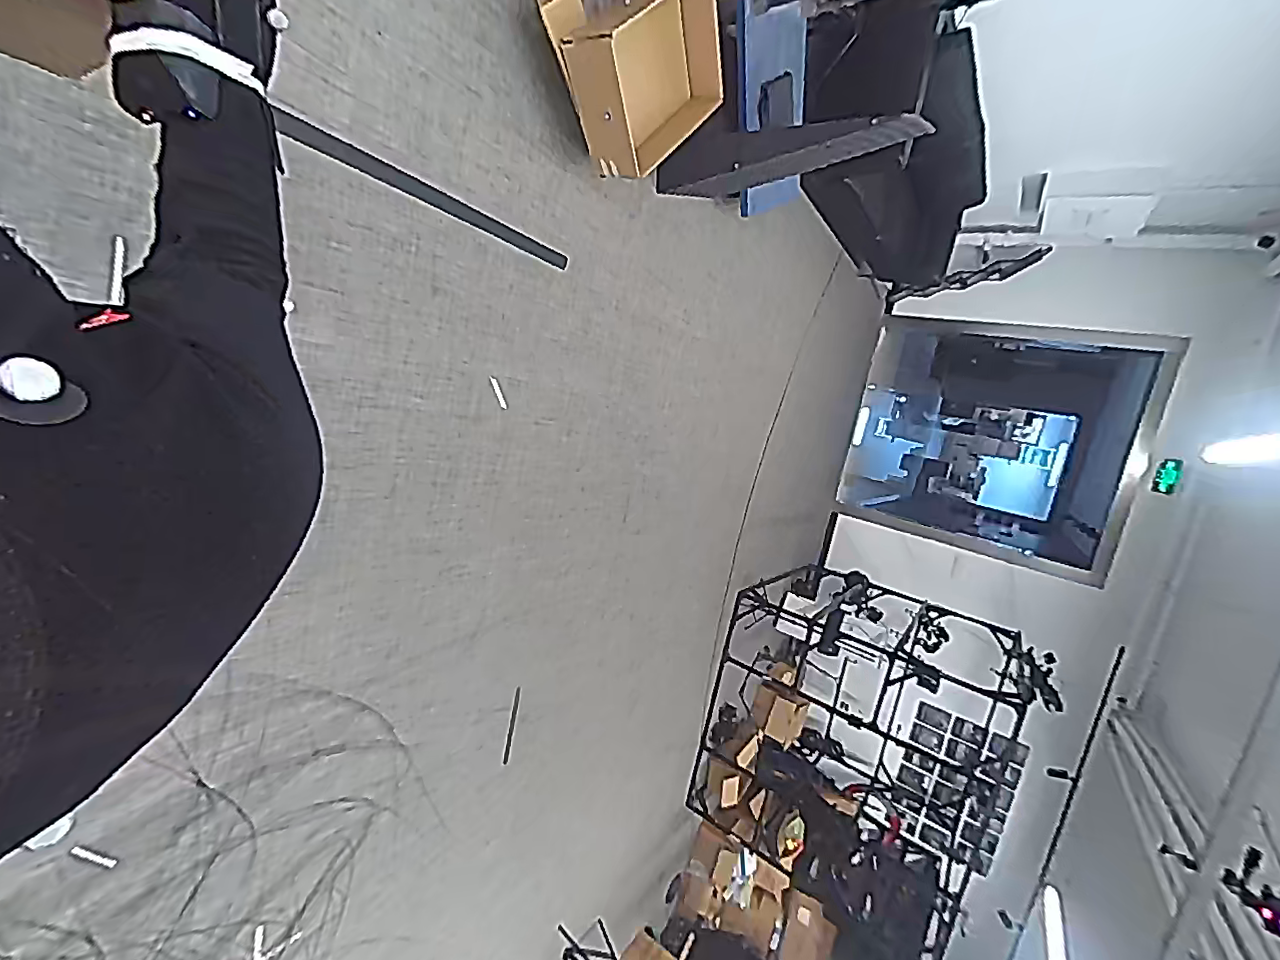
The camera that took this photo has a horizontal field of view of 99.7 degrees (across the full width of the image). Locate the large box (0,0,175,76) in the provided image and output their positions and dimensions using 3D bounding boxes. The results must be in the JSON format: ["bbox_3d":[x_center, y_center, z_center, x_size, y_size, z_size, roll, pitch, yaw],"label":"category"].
[{"bbox_3d":[-0.539,-0.495,0.274,0.408,0.320,0.320,-5,111,-55],"label":"large box"}]
